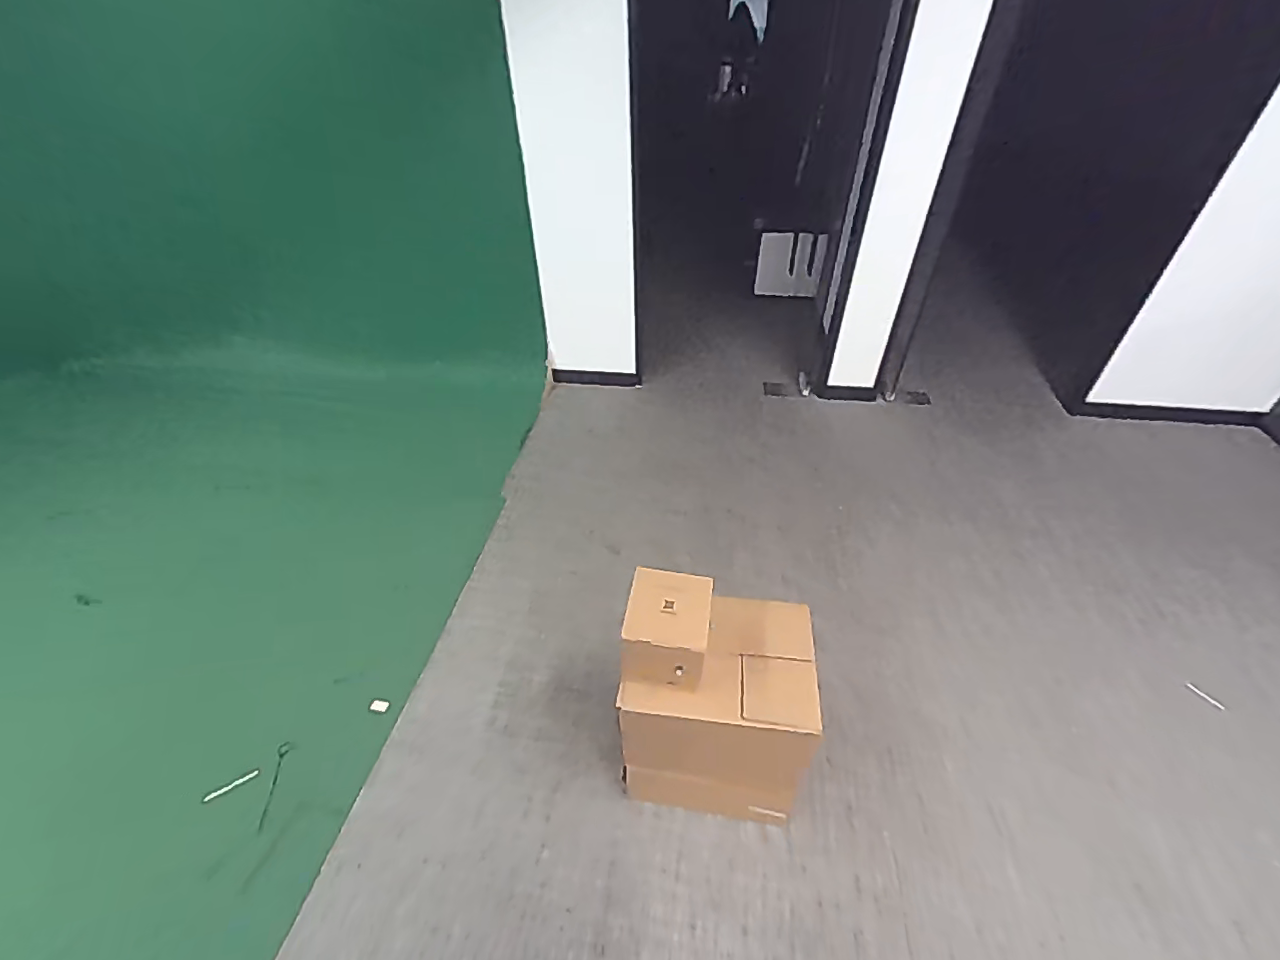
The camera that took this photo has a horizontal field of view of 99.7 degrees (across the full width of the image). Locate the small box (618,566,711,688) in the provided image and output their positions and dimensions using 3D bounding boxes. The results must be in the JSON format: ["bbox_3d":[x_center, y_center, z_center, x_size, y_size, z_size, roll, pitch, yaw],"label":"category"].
[{"bbox_3d":[0.054,0.309,1.129,0.168,0.176,0.179,8,43,7],"label":"small box"}]
